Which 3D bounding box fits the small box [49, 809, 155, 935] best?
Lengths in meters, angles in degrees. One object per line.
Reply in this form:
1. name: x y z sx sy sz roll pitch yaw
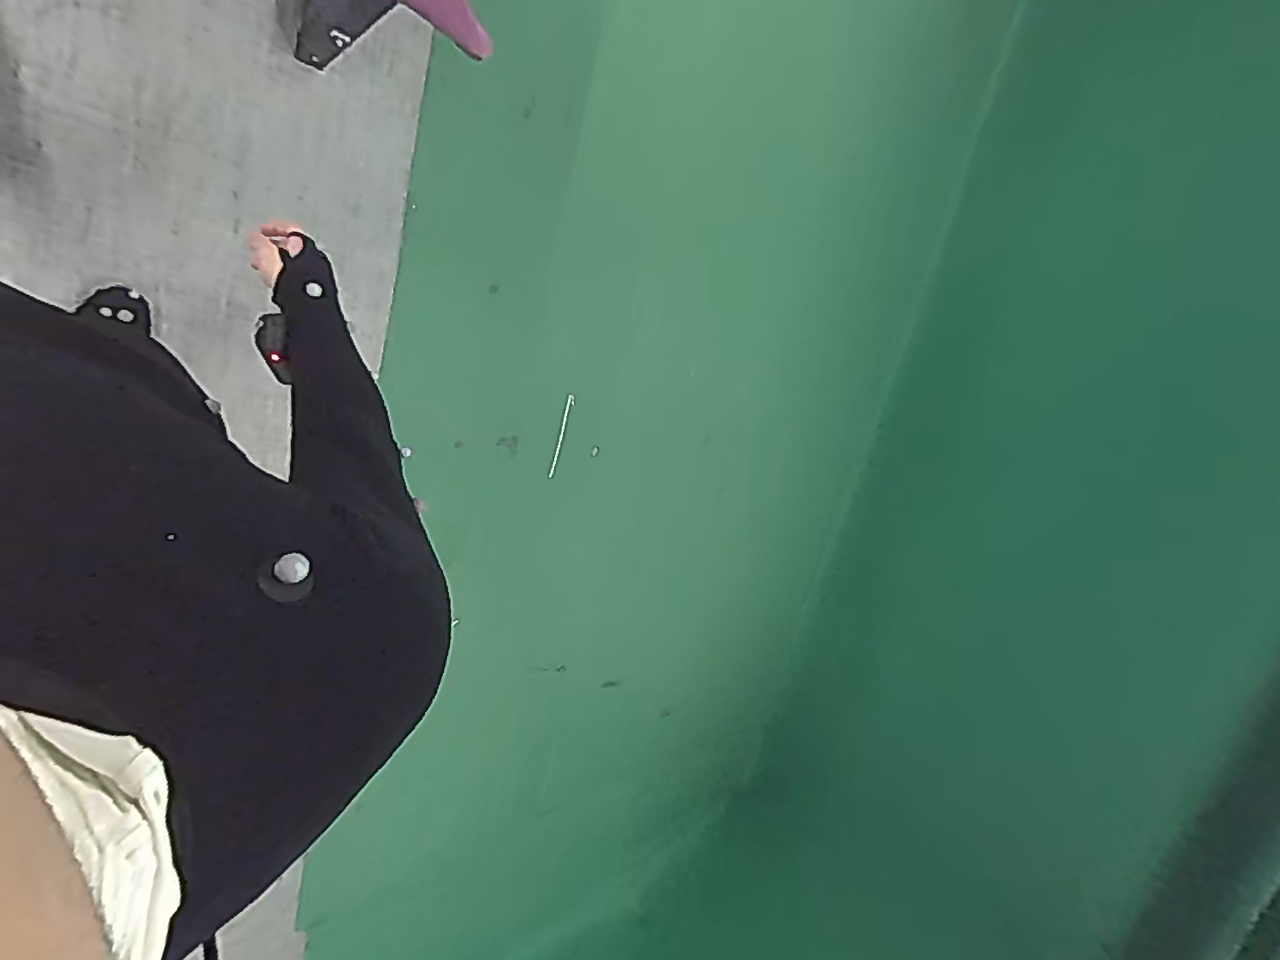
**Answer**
1. small box: -1.387 0.997 1.397 0.179 0.176 0.168 7 104 -46
